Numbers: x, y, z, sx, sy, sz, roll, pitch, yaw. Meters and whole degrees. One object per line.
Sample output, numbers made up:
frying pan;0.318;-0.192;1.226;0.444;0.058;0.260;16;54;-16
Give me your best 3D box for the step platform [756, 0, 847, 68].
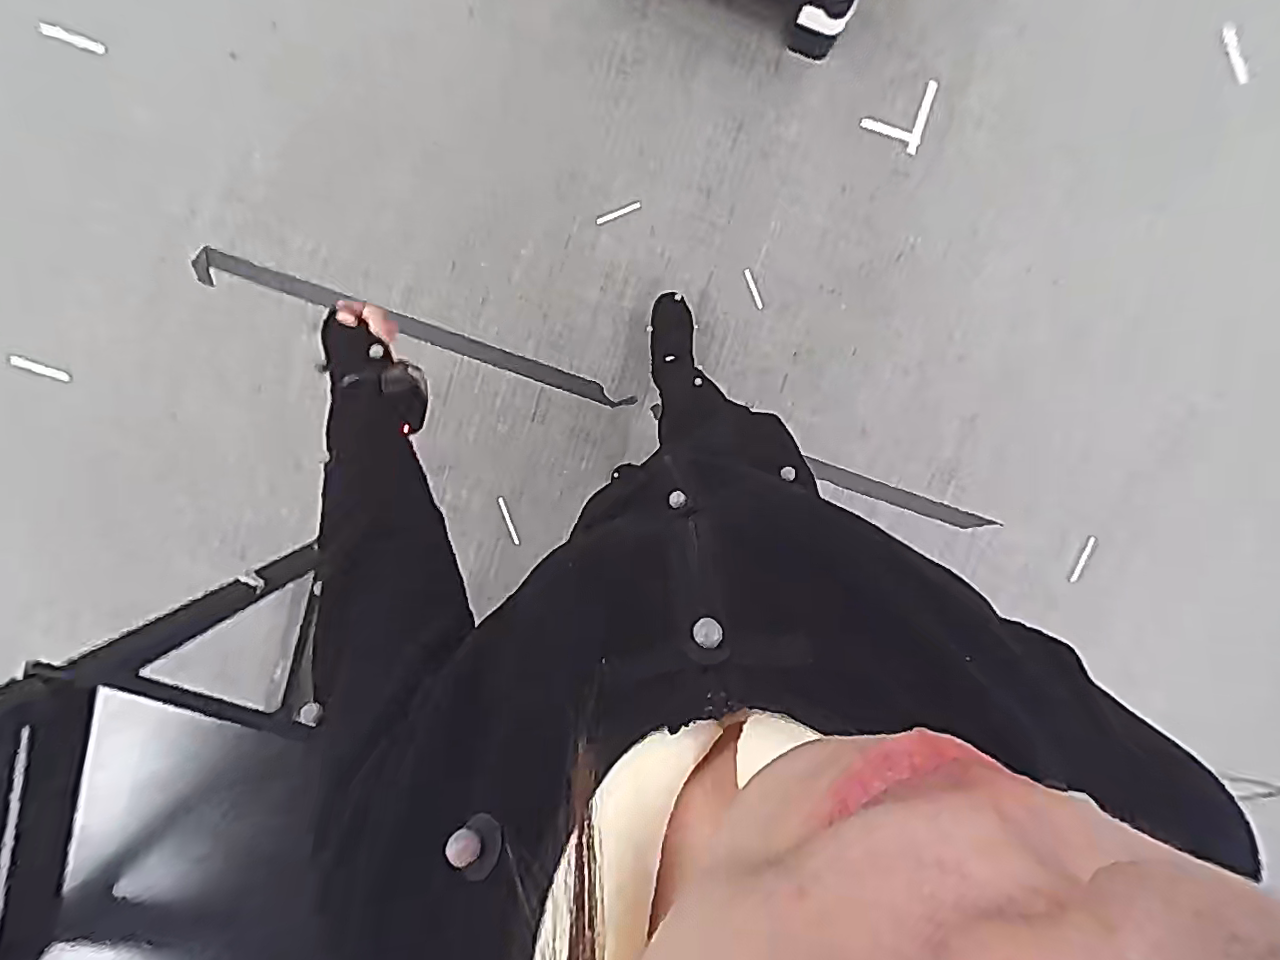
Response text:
step platform;0.167;-1.245;1.196;0.684;0.204;0.286;24;98;-3
